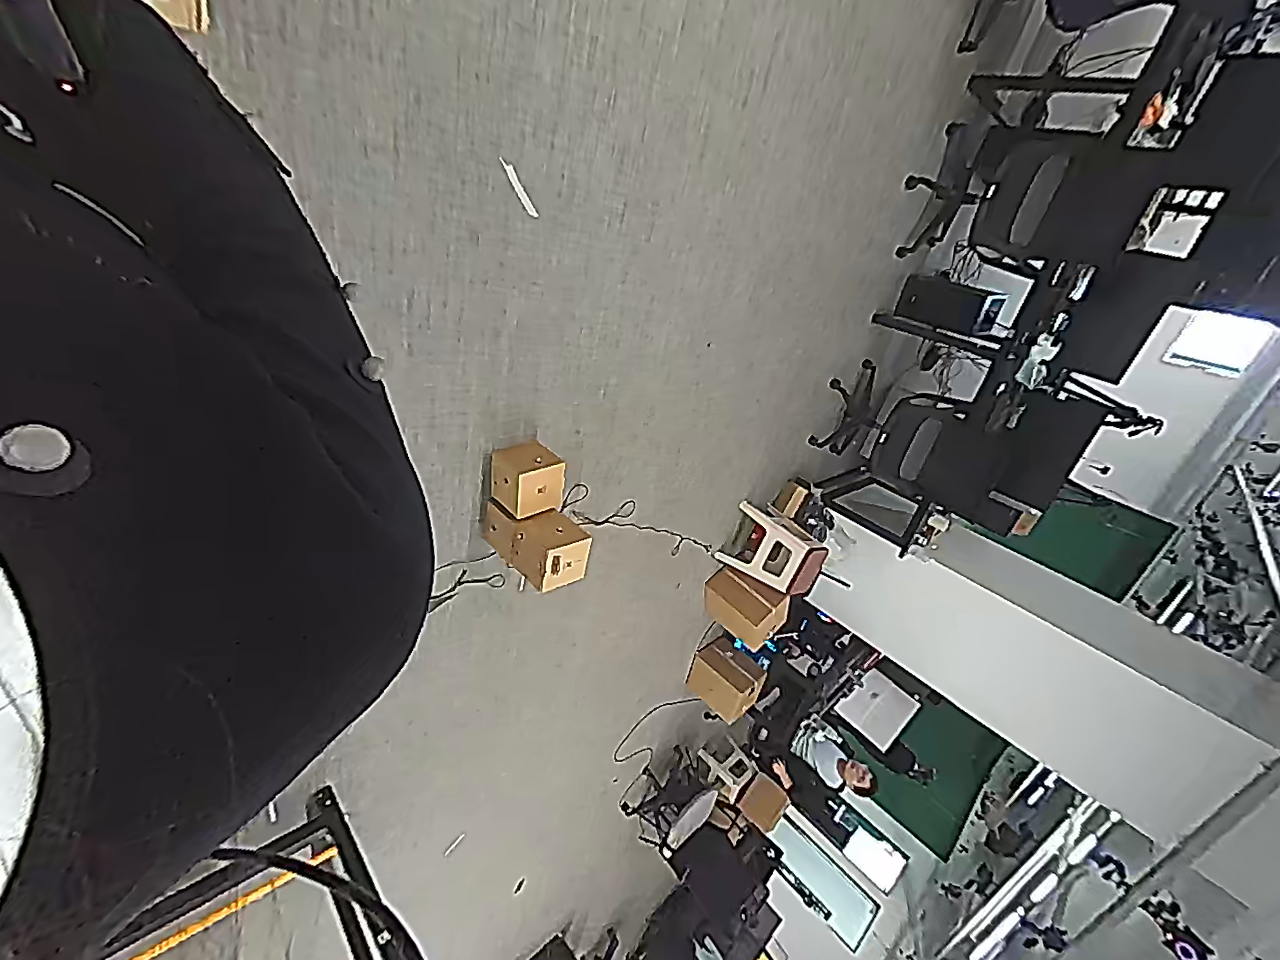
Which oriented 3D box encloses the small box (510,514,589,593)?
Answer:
[{"bbox_3d":[-0.295,0.228,1.733,0.179,0.176,0.168,-13,127,-45],"label":"small box"}]
